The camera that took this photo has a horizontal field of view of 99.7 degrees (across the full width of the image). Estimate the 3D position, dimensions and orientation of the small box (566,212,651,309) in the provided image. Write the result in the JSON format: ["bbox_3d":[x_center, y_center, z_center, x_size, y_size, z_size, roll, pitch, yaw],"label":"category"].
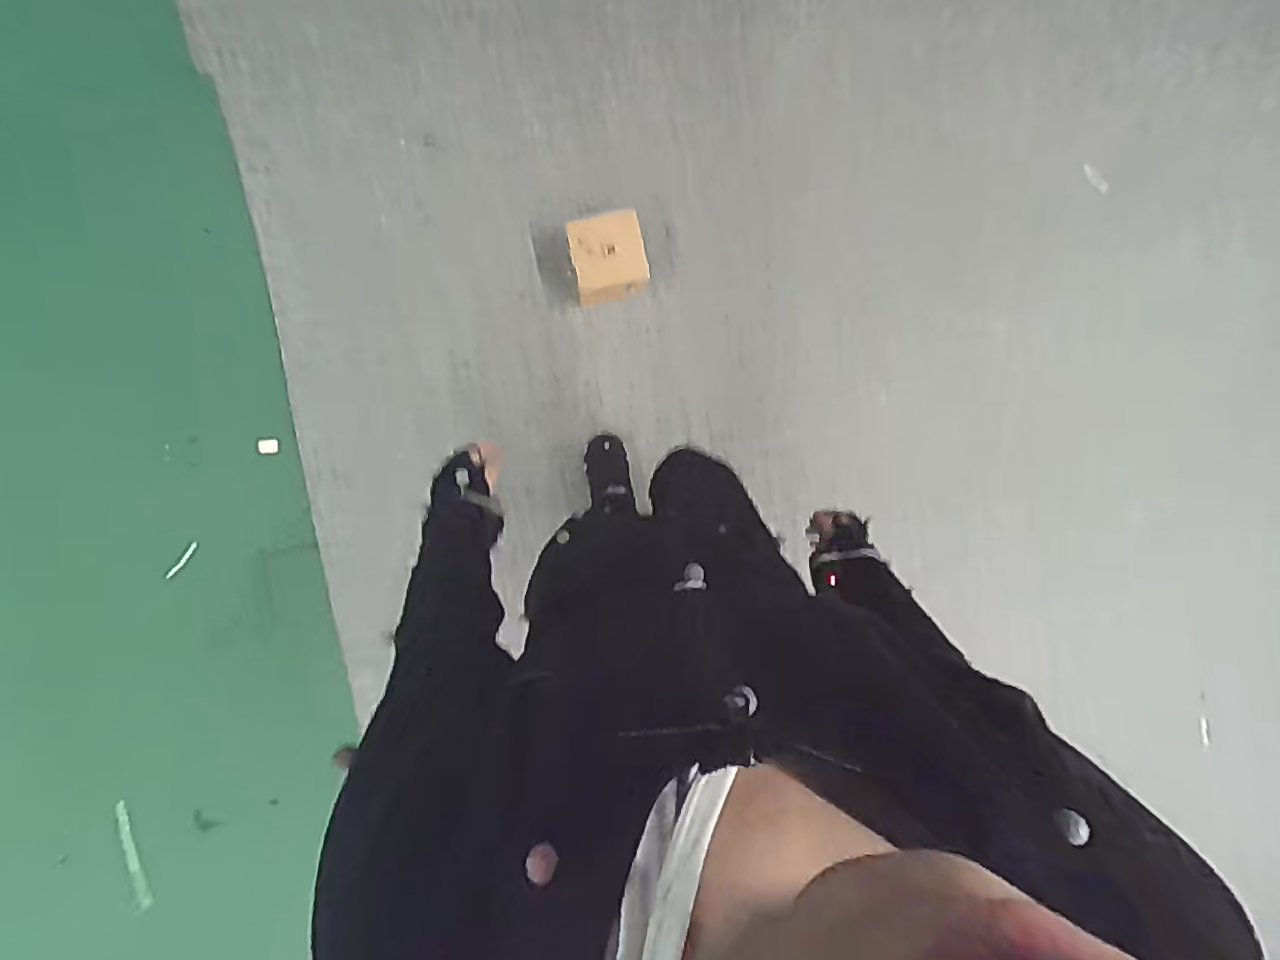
[{"bbox_3d":[-0.082,-0.544,1.357,0.179,0.176,0.168,-14,96,-4],"label":"small box"}]
